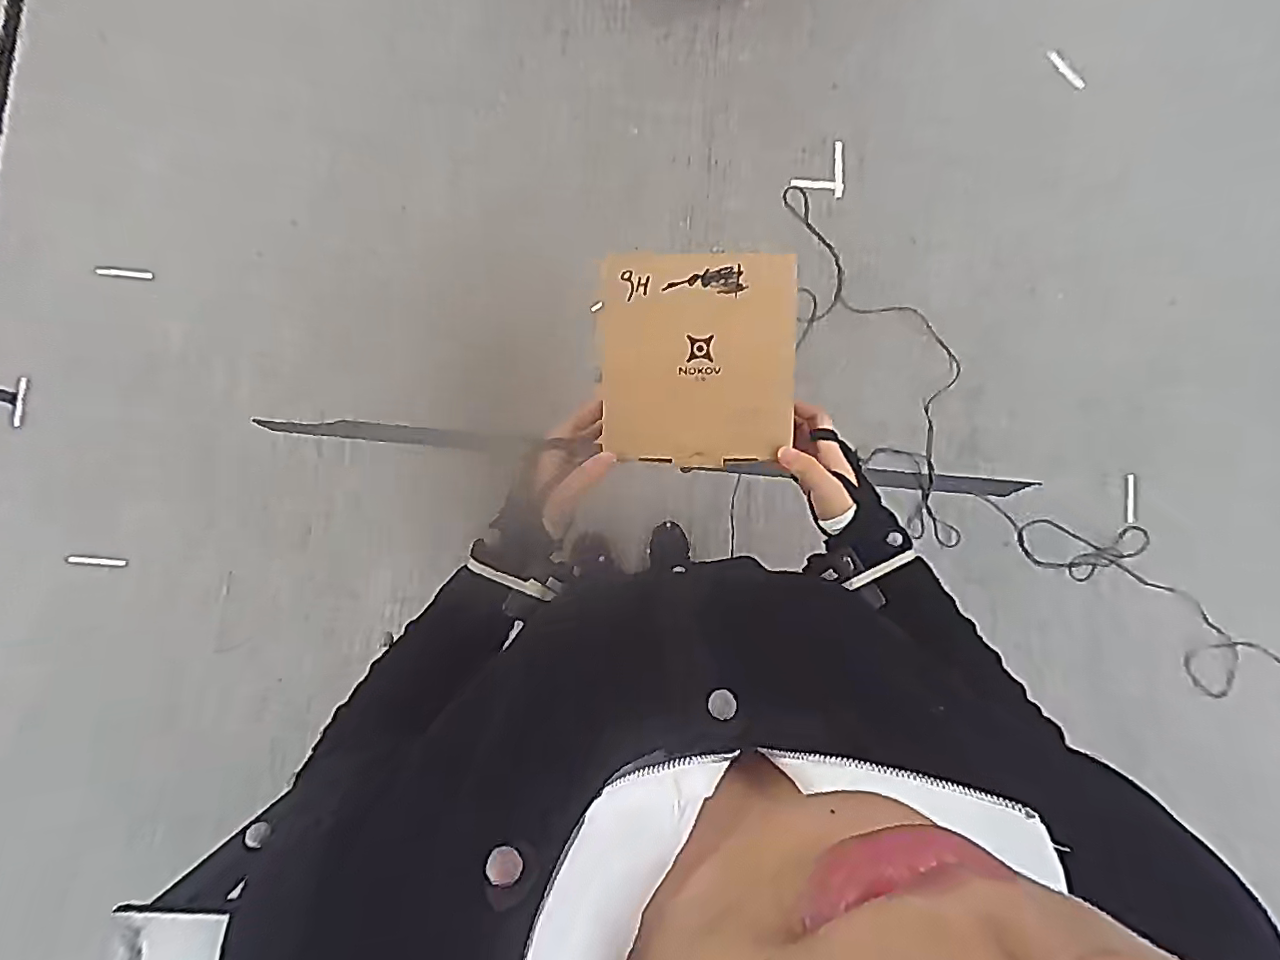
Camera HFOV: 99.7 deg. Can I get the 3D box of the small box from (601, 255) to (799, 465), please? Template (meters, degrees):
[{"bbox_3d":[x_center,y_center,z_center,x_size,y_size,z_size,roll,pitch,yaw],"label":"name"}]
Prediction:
[{"bbox_3d":[0.050,-0.109,0.535,0.168,0.176,0.179,0,97,0],"label":"small box"}]
